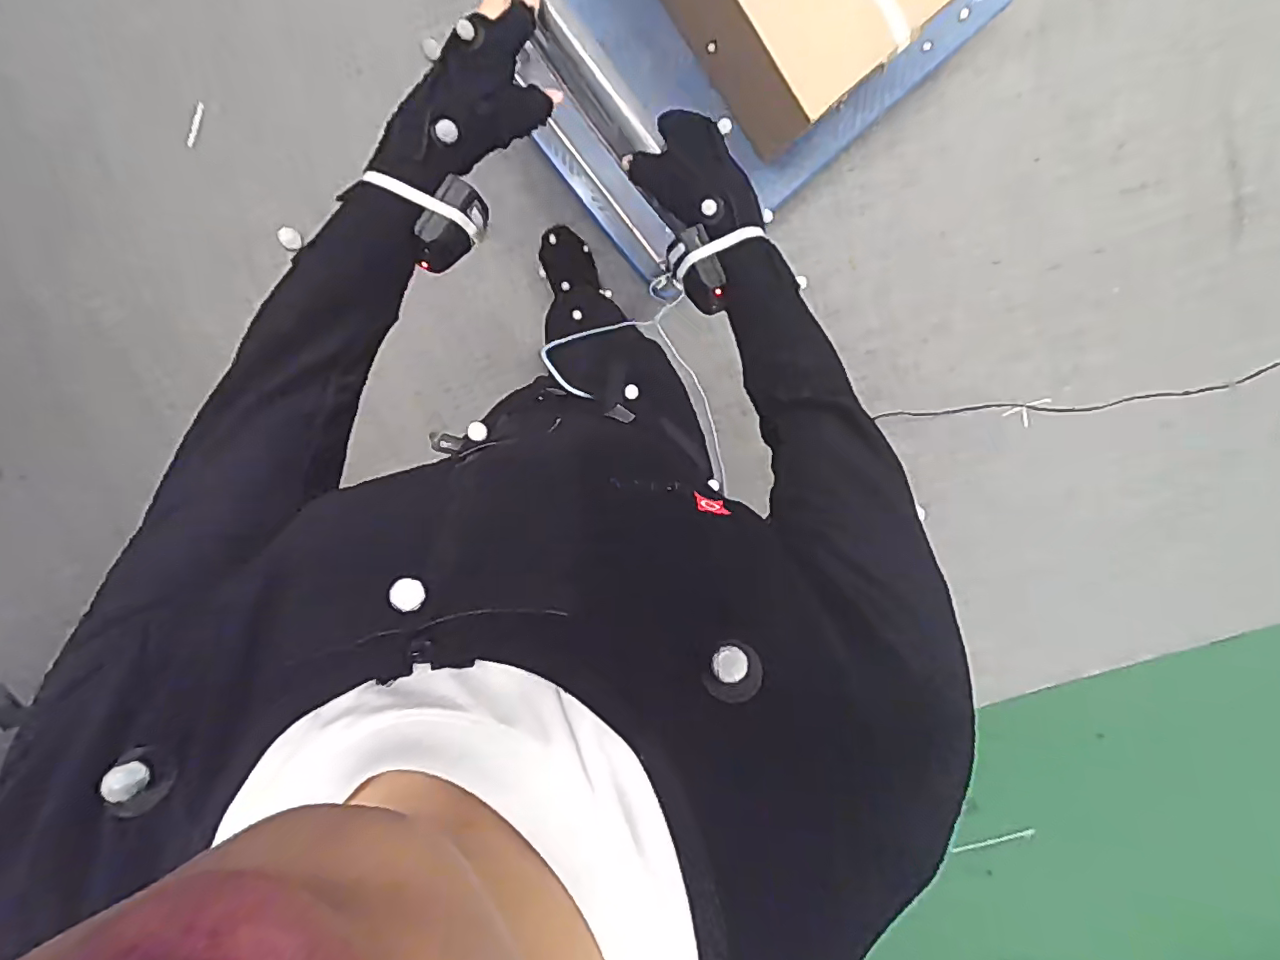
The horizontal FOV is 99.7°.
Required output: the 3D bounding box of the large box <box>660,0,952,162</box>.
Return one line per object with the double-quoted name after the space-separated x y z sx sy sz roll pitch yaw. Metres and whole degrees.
0.252 -0.825 0.880 0.320 0.320 0.408 -38 105 11 "large box"
